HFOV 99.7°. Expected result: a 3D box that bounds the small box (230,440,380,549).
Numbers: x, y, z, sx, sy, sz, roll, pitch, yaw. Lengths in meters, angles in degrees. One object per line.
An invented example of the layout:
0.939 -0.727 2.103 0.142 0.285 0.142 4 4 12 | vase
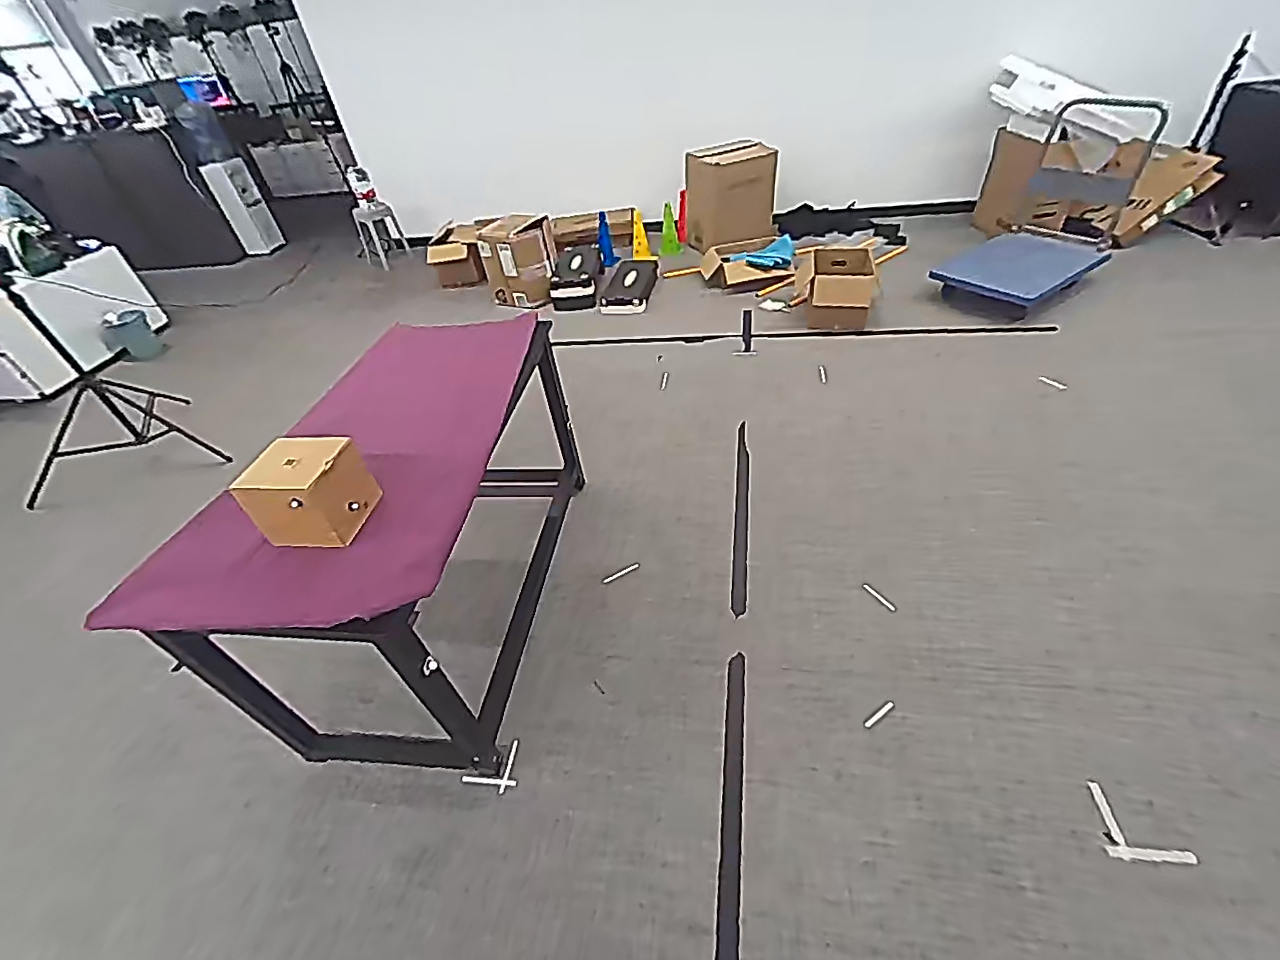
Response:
-0.694 0.032 1.144 0.179 0.176 0.168 0 41 8 | small box
